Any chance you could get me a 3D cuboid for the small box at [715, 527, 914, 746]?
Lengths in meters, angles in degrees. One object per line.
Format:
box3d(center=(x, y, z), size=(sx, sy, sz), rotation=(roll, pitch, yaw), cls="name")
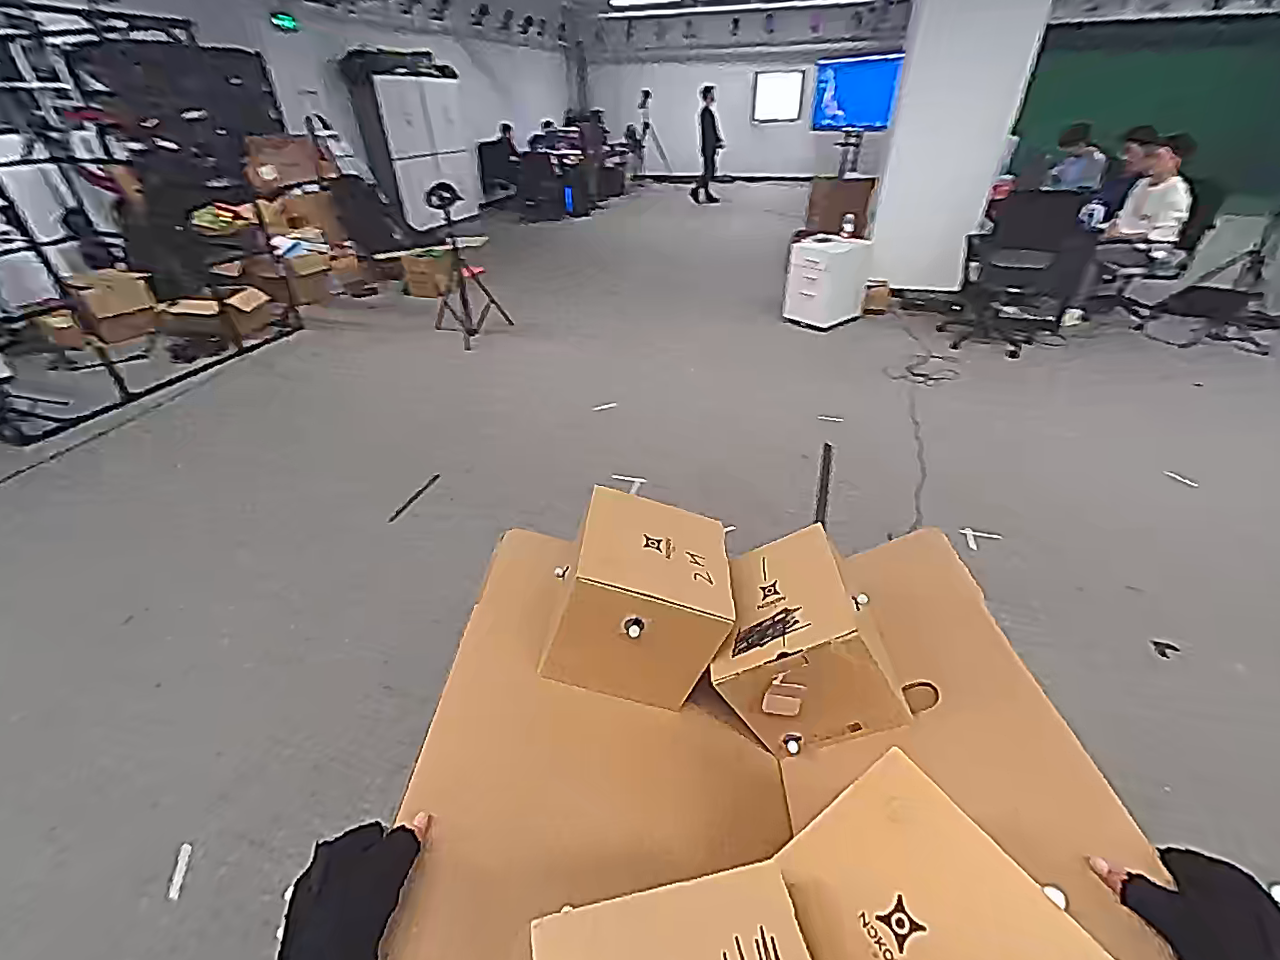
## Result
box3d(center=(0.205, 0.196, 0.658), size=(0.168, 0.176, 0.179), rotation=(-26, 26, 21), cls="small box")
